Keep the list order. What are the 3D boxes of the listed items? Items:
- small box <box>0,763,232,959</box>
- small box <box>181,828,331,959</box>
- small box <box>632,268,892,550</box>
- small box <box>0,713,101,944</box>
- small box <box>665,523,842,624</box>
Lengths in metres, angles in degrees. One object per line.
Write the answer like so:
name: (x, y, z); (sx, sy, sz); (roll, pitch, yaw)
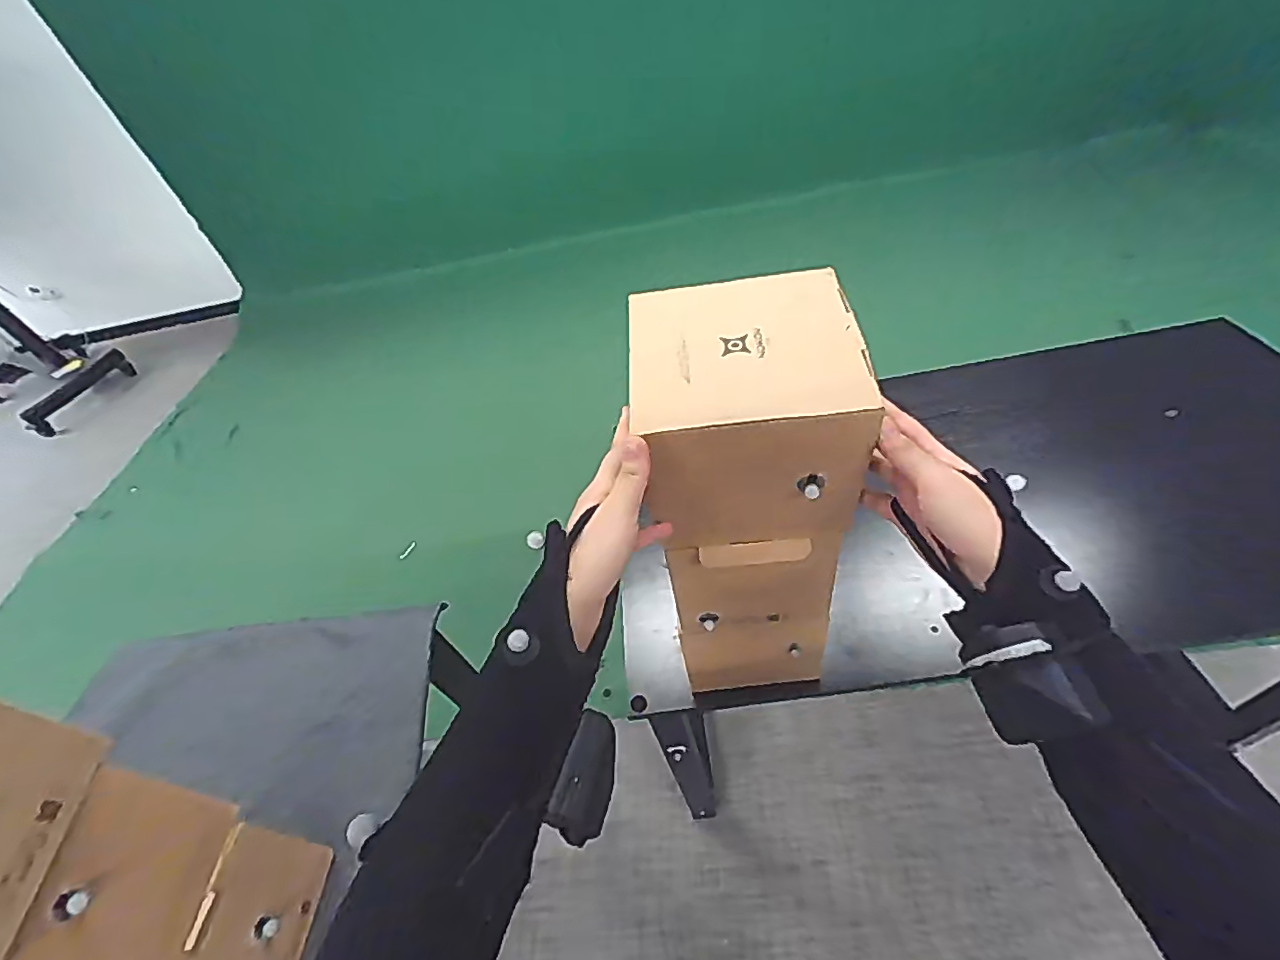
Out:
small box: (-0.512, 0.369, 0.470); (0.168, 0.176, 0.179); (-9, 47, 8)
small box: (-0.478, 0.484, 0.581); (0.179, 0.176, 0.168); (-7, 47, 8)
small box: (0.093, -0.053, 0.475); (0.179, 0.176, 0.168); (-7, 53, 7)
small box: (-0.537, 0.252, 0.355); (0.179, 0.176, 0.168); (-15, 46, 2)
small box: (0.118, 0.049, 0.608); (0.168, 0.176, 0.179); (-6, 46, 7)
